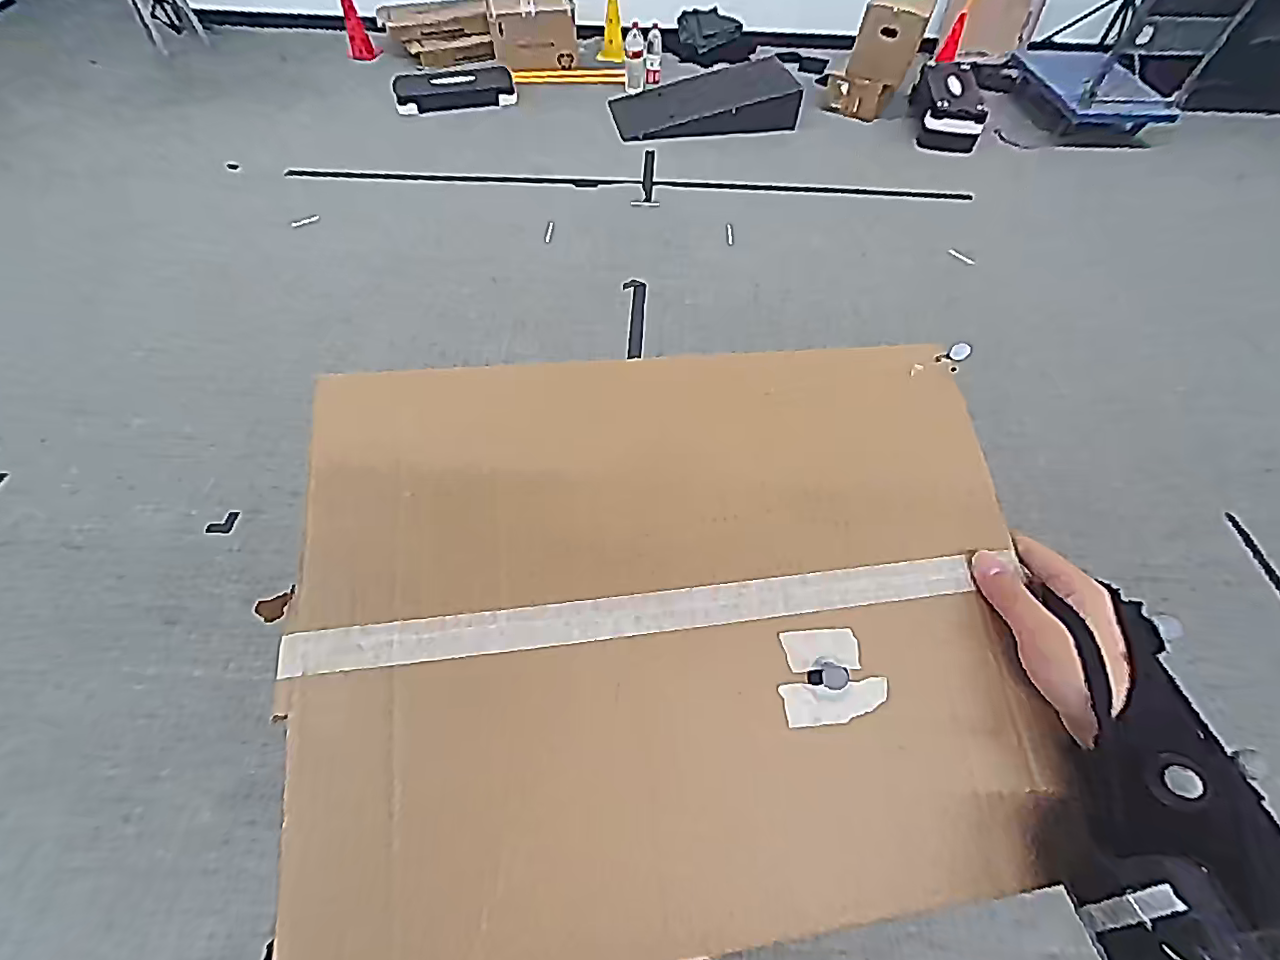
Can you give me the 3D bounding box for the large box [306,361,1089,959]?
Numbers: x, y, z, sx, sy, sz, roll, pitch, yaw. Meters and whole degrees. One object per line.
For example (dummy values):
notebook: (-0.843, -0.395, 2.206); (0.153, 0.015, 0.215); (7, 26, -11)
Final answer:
large box: (0.011, 0.126, 0.447); (0.408, 0.320, 0.320); (-5, 72, -9)
